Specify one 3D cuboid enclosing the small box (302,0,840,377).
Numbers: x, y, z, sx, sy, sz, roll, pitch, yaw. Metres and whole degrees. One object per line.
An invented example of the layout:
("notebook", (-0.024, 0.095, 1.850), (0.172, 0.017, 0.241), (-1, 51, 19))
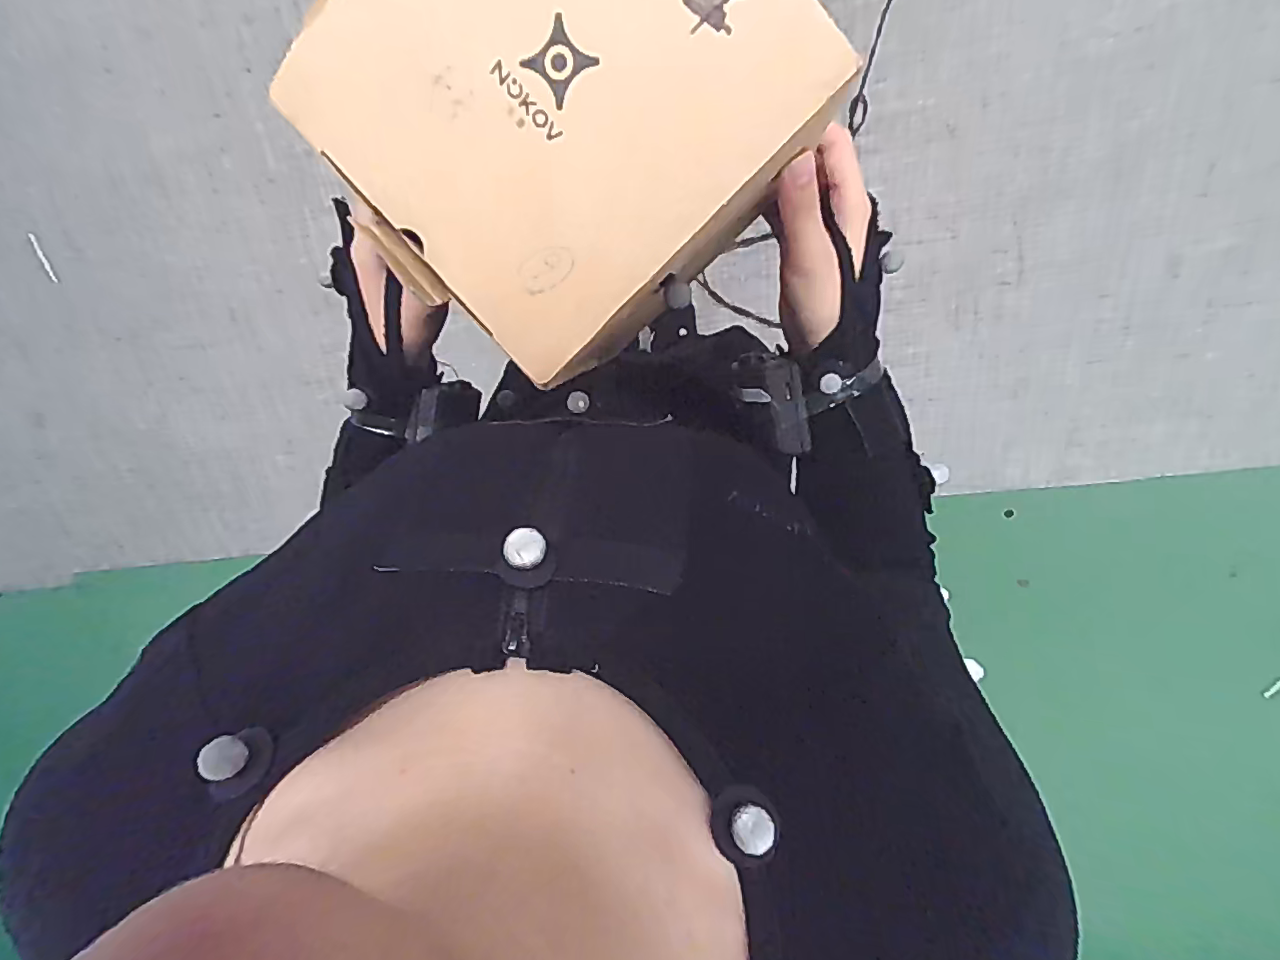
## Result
("small box", (-0.024, -0.181, 0.300), (0.179, 0.176, 0.168), (-41, 97, 17))
